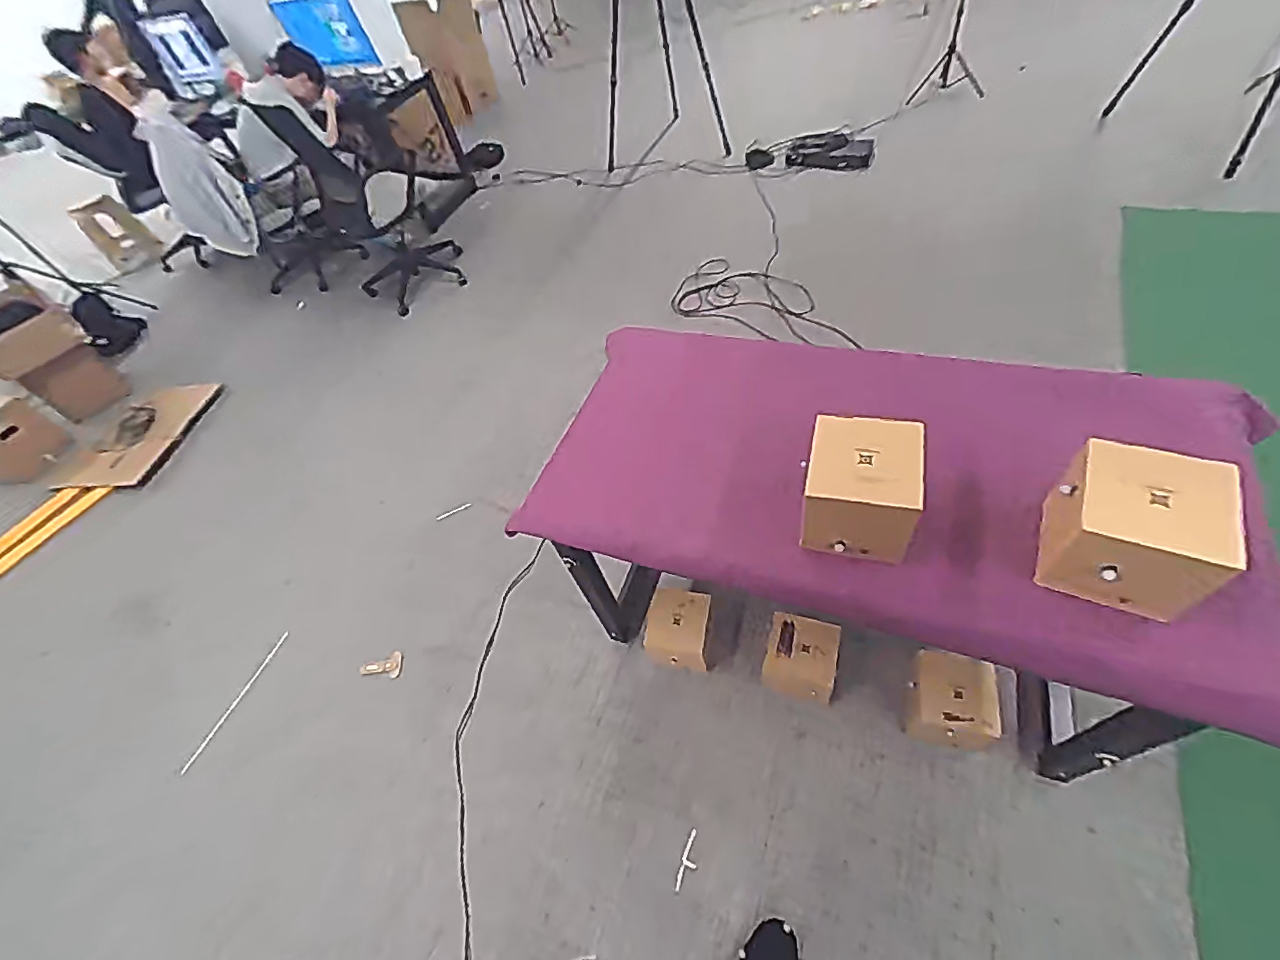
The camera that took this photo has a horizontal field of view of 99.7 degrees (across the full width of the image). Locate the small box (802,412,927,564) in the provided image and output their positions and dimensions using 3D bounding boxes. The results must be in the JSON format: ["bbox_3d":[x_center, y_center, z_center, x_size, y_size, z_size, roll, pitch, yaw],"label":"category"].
[{"bbox_3d":[0.366,0.013,0.897,0.168,0.176,0.179,8,55,19],"label":"small box"}]

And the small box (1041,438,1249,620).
[{"bbox_3d":[0.706,0.072,0.775,0.168,0.176,0.179,17,57,25],"label":"small box"}]

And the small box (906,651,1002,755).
[{"bbox_3d":[0.758,0.548,1.326,0.168,0.176,0.179,7,54,17],"label":"small box"}]

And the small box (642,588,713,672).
[{"bbox_3d":[0.115,0.436,1.556,0.168,0.176,0.179,5,54,16],"label":"small box"}]
